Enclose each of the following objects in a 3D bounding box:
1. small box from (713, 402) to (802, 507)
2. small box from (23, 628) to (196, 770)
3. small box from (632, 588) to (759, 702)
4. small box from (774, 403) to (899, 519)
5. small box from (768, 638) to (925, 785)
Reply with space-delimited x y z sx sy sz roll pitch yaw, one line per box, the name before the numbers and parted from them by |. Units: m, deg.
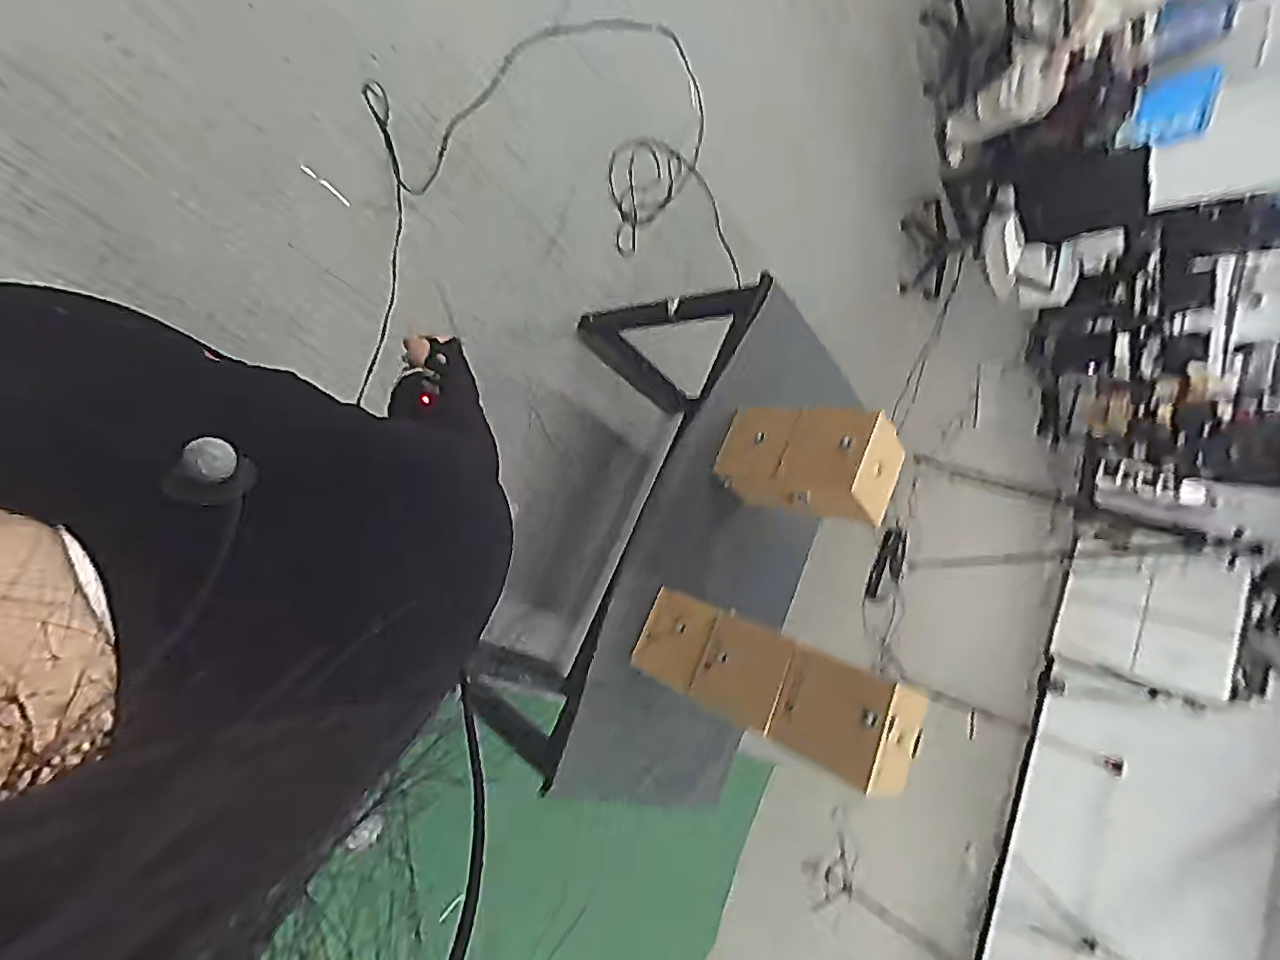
small box | 0.288 -0.061 1.222 0.168 0.176 0.179 36 72 -42
small box | -1.034 0.421 1.066 0.179 0.176 0.168 -53 127 -23
small box | 0.112 0.337 1.124 0.179 0.176 0.168 35 72 -42
small box | 0.399 -0.044 1.105 0.168 0.176 0.179 37 72 -40
small box | 0.340 0.376 0.891 0.179 0.176 0.168 31 75 -44
